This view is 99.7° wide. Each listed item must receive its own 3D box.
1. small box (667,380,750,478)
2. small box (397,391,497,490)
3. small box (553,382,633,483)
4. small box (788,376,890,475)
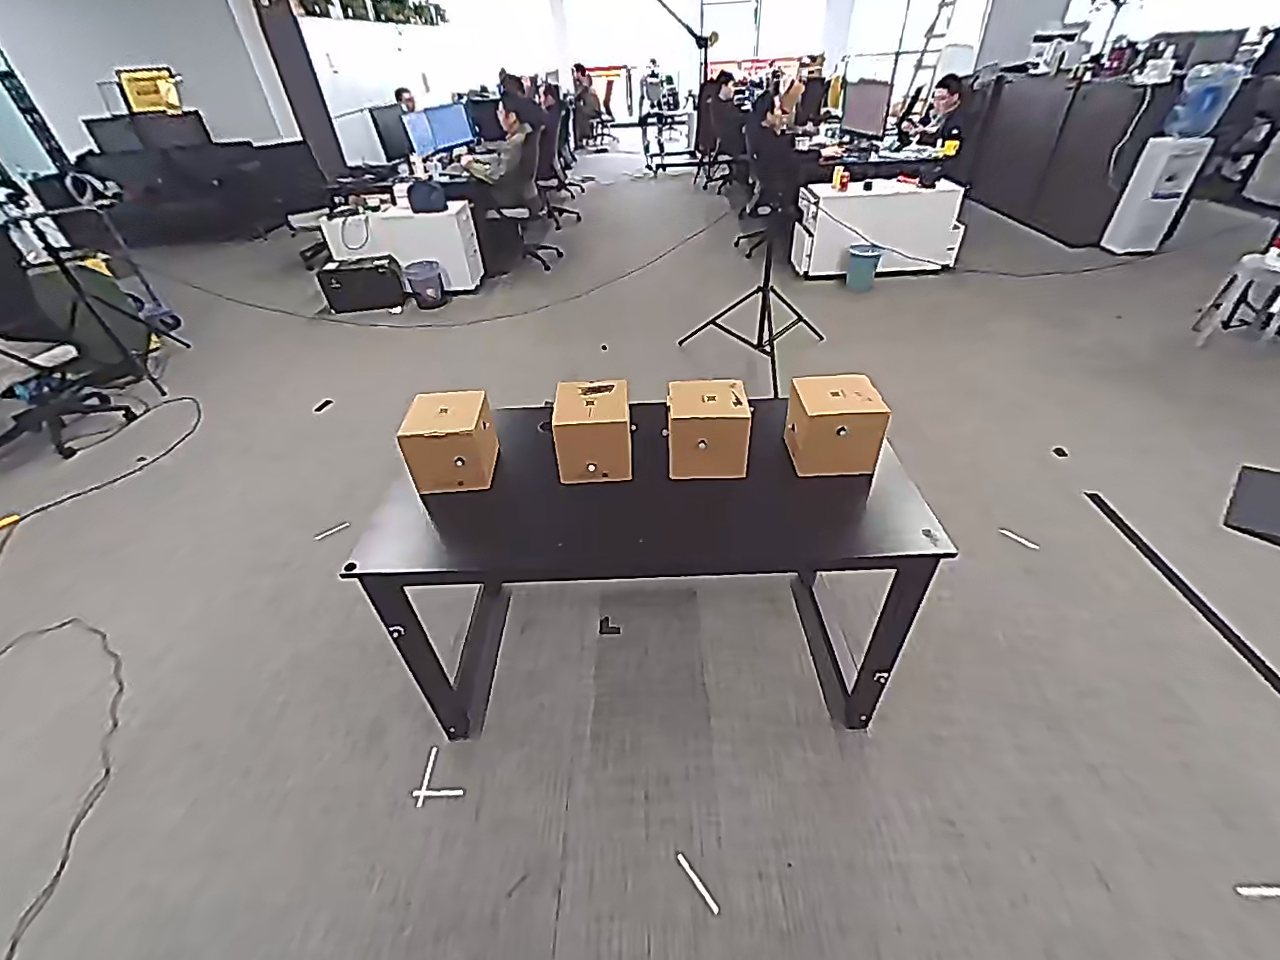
[{"bbox_3d":[0.155,-0.115,1.253,0.179,0.176,0.168,-2,39,3],"label":"small box"},{"bbox_3d":[-0.437,-0.088,1.258,0.168,0.176,0.179,-4,38,-3],"label":"small box"},{"bbox_3d":[-0.105,-0.111,1.264,0.168,0.176,0.179,-3,40,0],"label":"small box"},{"bbox_3d":[0.442,-0.123,1.240,0.179,0.176,0.168,-2,39,2],"label":"small box"}]
